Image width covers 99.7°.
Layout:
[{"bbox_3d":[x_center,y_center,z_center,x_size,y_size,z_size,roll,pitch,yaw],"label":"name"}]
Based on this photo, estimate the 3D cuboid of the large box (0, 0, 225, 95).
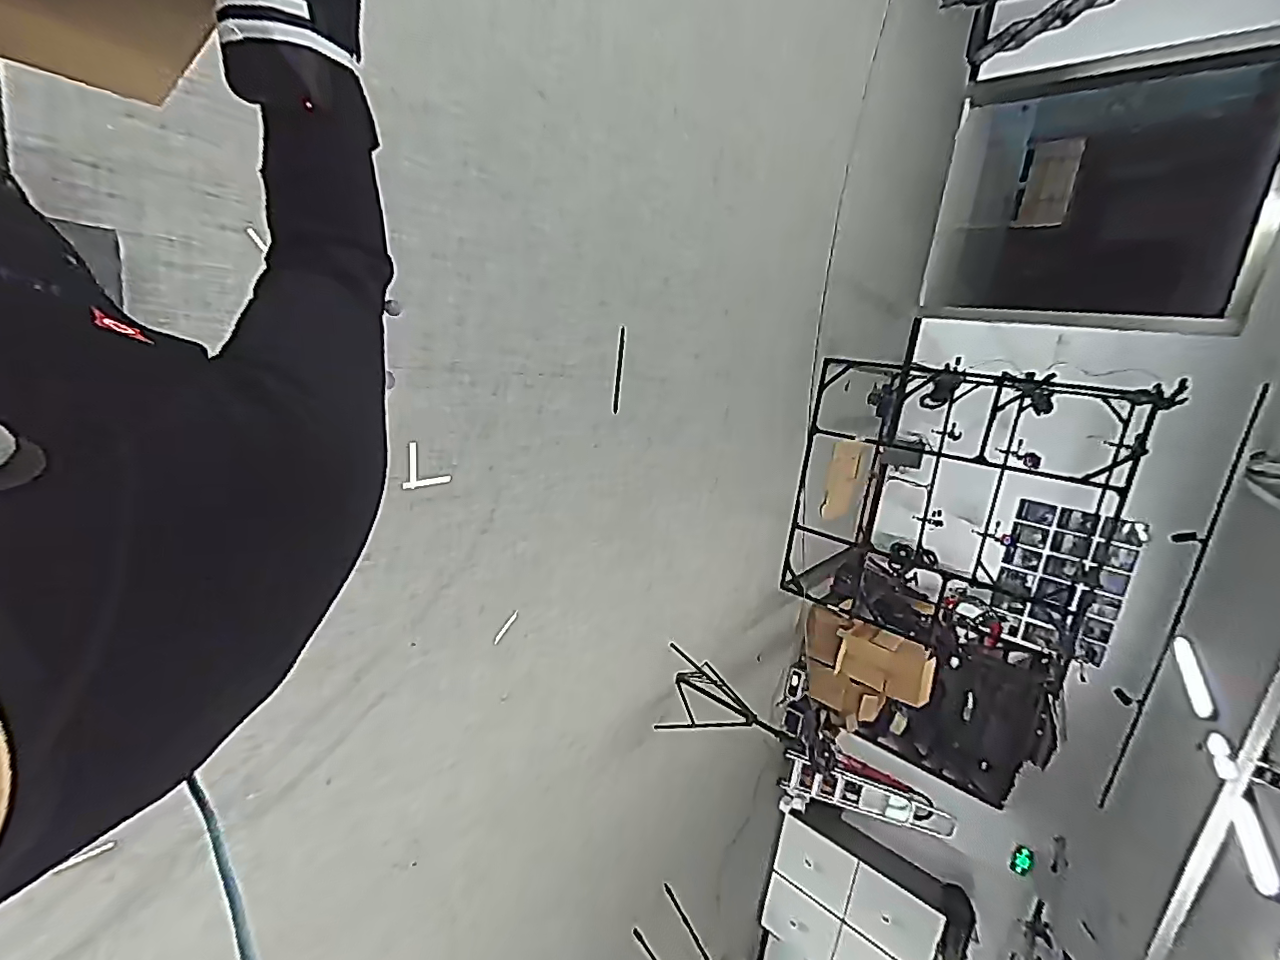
[{"bbox_3d":[-0.471,-0.470,0.252,0.408,0.320,0.320,-10,106,-50],"label":"large box"}]
